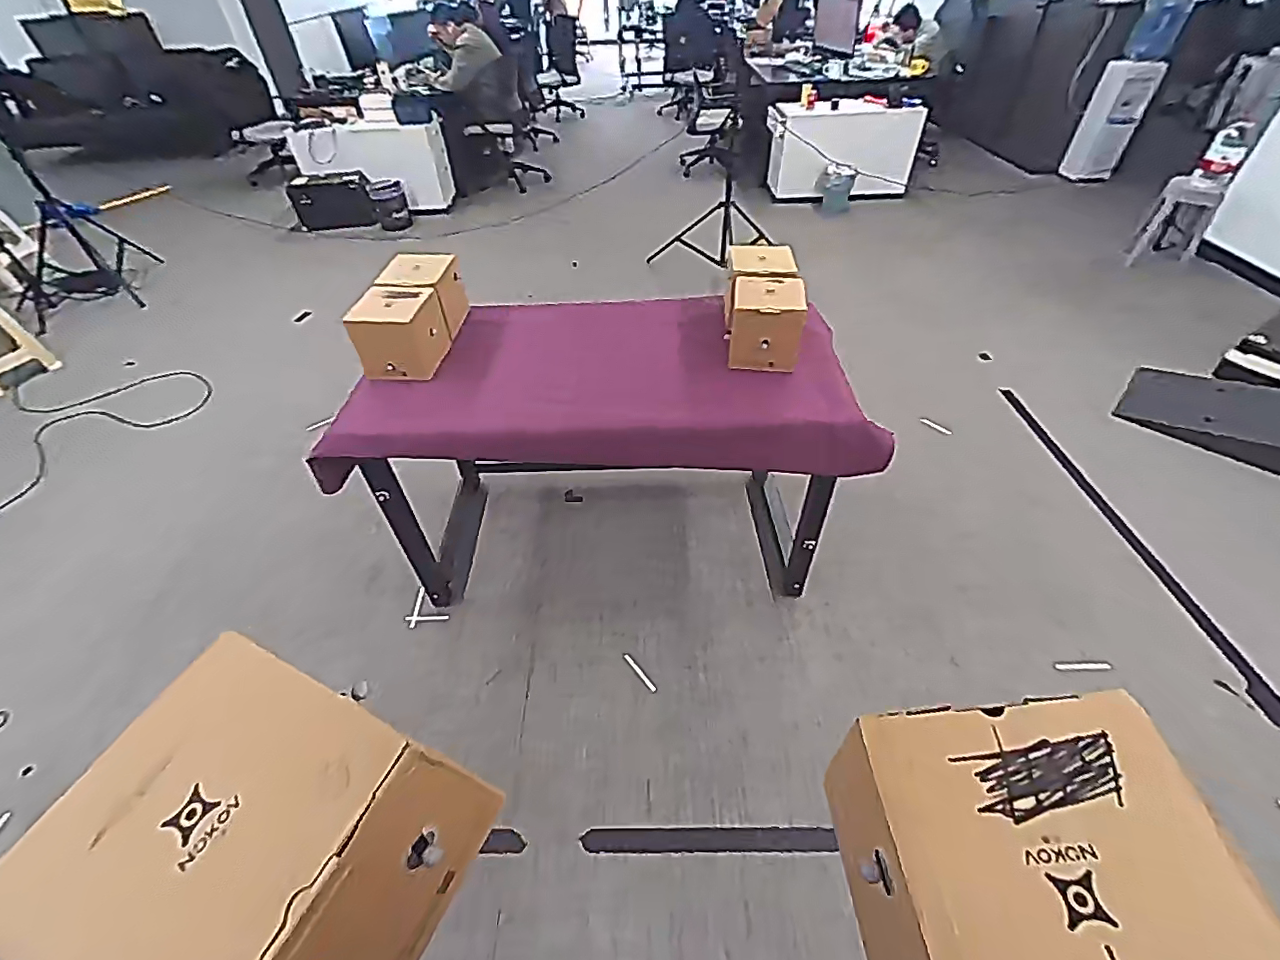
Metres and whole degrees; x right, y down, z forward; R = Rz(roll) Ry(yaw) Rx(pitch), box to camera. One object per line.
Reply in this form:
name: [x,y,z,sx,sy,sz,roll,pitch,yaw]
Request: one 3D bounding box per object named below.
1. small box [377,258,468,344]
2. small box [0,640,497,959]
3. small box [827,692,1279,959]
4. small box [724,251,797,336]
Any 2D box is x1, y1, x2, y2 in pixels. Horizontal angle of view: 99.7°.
small box: [-0.593,-0.499,1.505,0.168,0.176,0.179,2,46,4]
small box: [-0.224,0.239,0.353,0.179,0.176,0.168,15,53,22]
small box: [0.229,0.256,0.340,0.168,0.176,0.179,-8,50,3]
small box: [0.325,-0.516,1.496,0.168,0.176,0.179,2,44,3]
